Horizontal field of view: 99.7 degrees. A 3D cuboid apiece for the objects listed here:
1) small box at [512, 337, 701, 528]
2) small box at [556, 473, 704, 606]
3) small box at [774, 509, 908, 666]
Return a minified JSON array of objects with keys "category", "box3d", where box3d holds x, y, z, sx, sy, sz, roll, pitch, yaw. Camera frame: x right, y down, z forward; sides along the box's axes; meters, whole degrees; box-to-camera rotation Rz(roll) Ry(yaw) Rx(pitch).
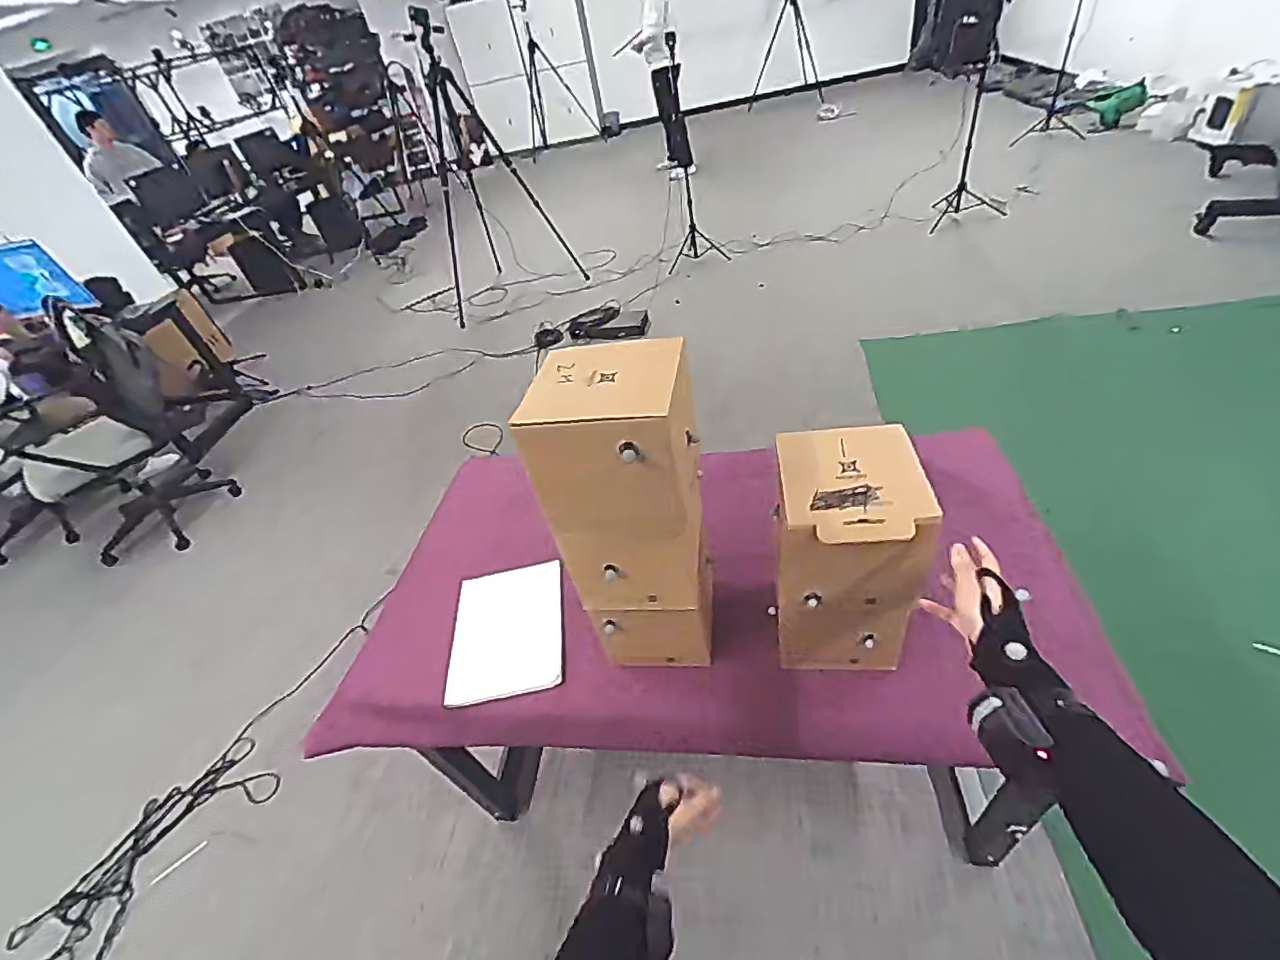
[{"category":"small box","box3d":[-0.024,-0.054,0.659,0.179,0.176,0.168,-2,41,15]},{"category":"small box","box3d":[-0.001,0.065,0.772,0.168,0.176,0.179,-3,41,13]},{"category":"small box","box3d":[0.295,0.165,0.826,0.168,0.176,0.179,-2,41,12]}]
